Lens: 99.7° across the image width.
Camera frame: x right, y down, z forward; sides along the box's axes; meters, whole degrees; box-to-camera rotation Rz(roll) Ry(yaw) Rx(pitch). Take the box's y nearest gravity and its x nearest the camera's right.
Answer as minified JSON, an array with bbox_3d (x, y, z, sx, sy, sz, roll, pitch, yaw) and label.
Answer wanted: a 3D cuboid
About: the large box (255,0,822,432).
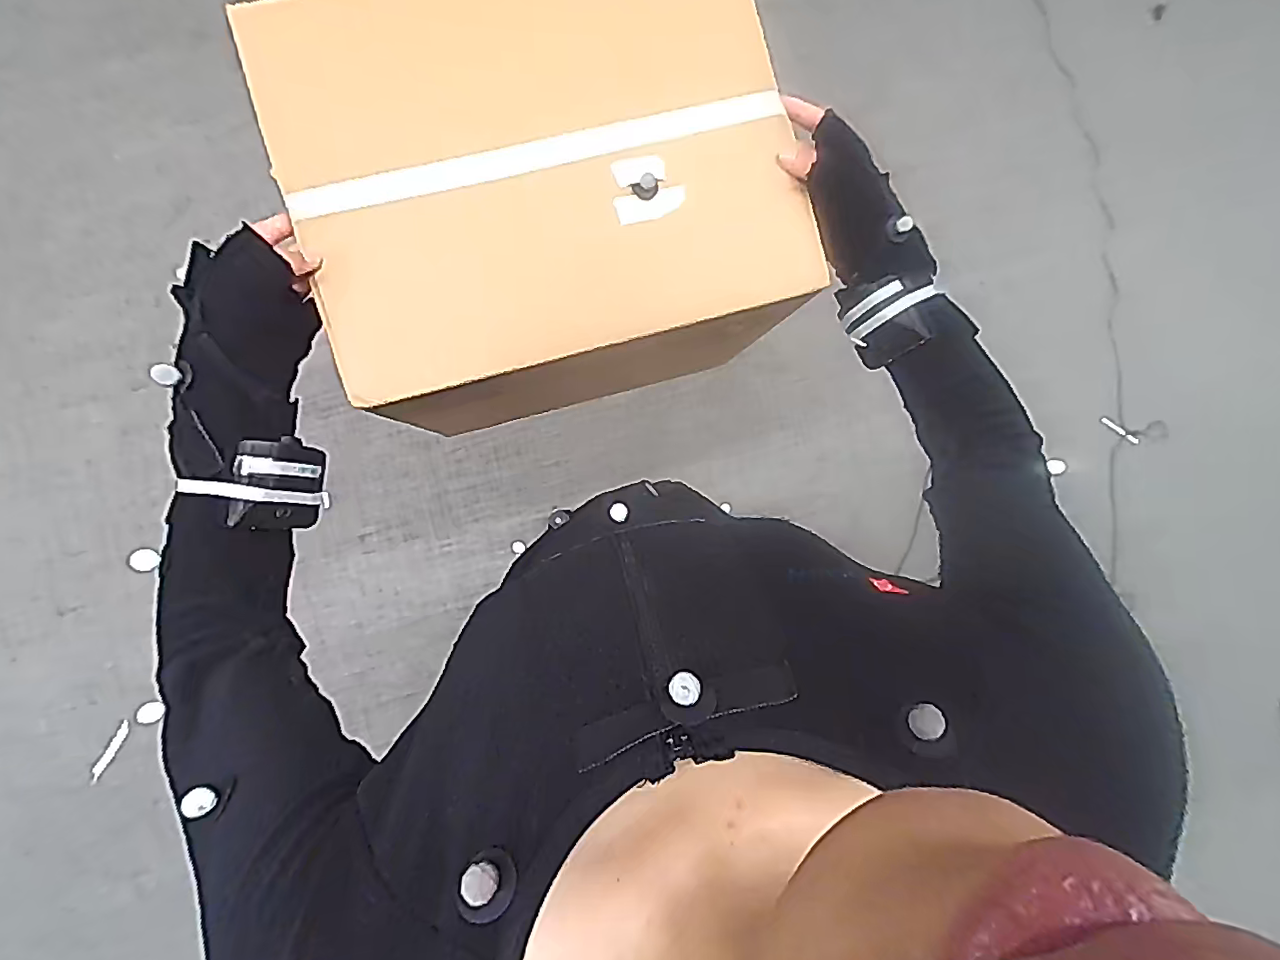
[{"bbox_3d":[-0.089,-0.265,0.593,0.408,0.320,0.320,-17,93,-7],"label":"large box"}]
